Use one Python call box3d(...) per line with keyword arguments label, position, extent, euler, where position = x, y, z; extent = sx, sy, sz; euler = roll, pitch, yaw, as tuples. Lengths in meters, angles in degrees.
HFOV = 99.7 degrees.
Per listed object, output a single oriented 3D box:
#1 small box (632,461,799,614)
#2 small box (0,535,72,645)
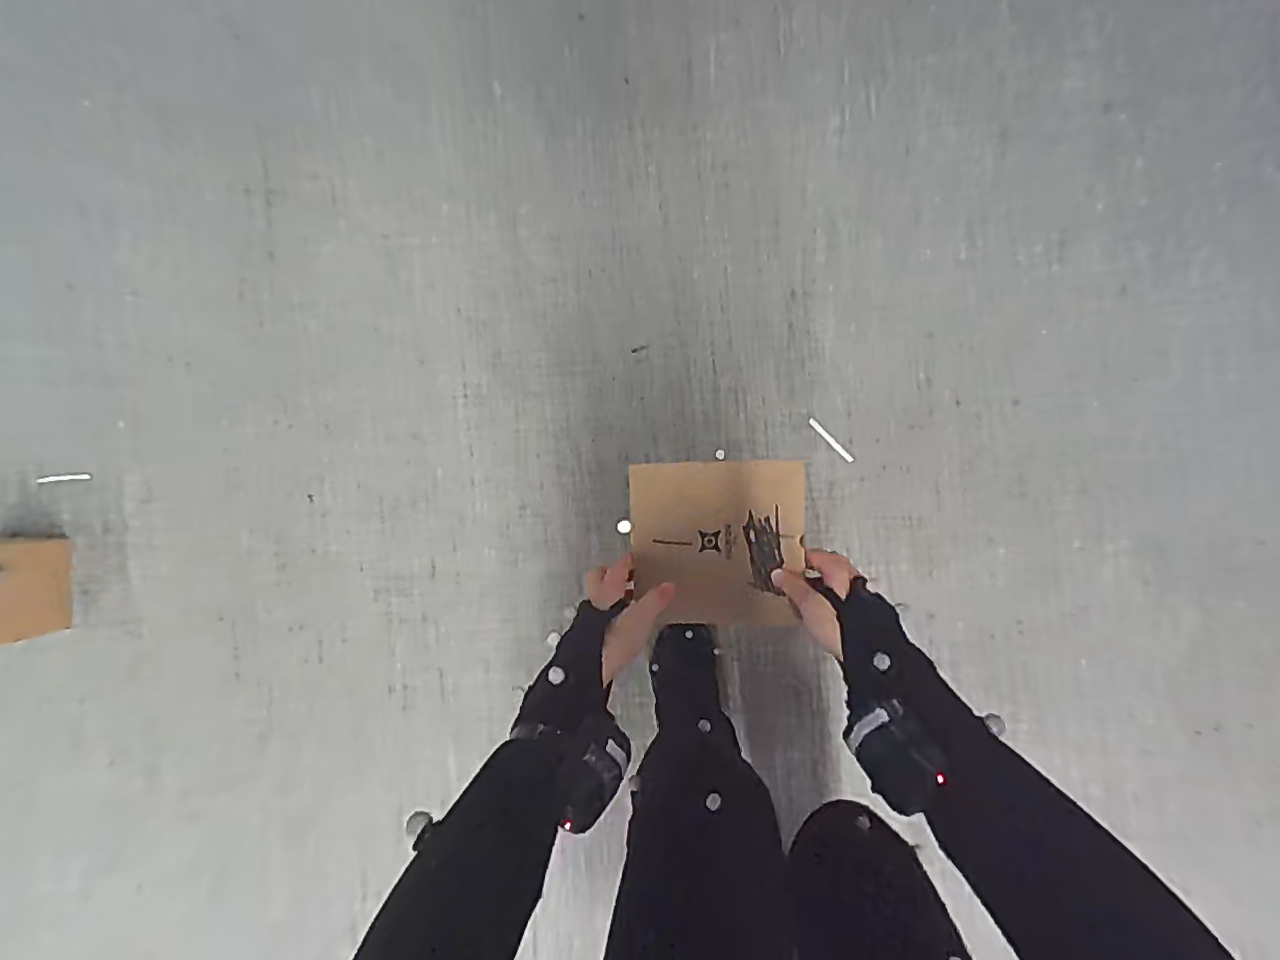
box3d(label="small box", position=(0.080, 0.060, 0.655), extent=(0.179, 0.176, 0.168), euler=(-1, 90, 0))
box3d(label="small box", position=(-1.154, 0.190, 0.943), extent=(0.168, 0.176, 0.179), euler=(1, 90, 5))
